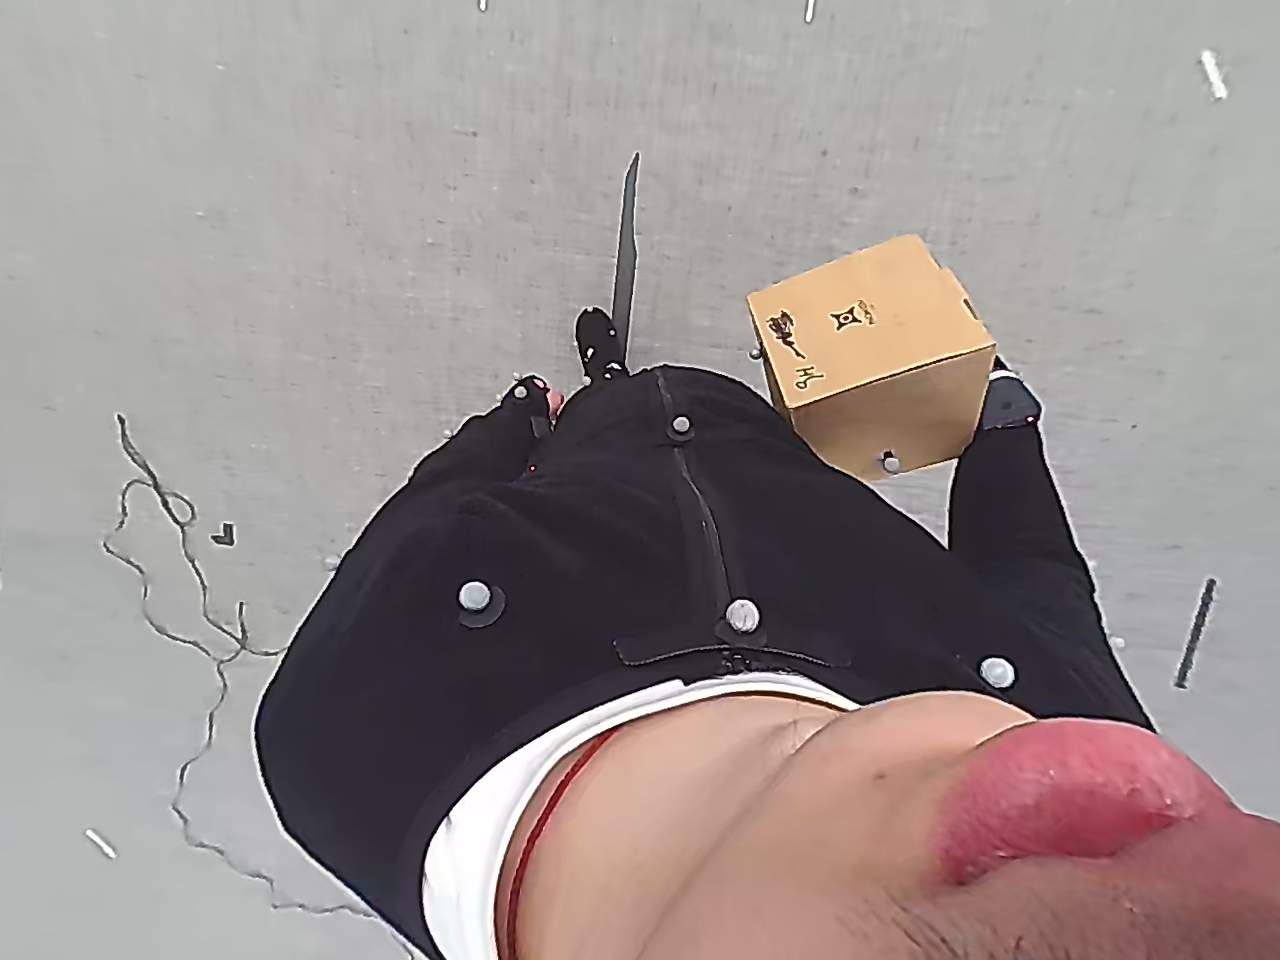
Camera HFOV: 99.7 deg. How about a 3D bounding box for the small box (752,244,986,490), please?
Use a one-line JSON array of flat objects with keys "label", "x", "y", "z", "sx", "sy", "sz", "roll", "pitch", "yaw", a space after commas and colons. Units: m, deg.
[{"label": "small box", "x": 0.235, "y": -0.113, "z": 0.591, "sx": 0.179, "sy": 0.168, "sz": 0.176, "roll": -16, "pitch": 143, "yaw": 12}]
